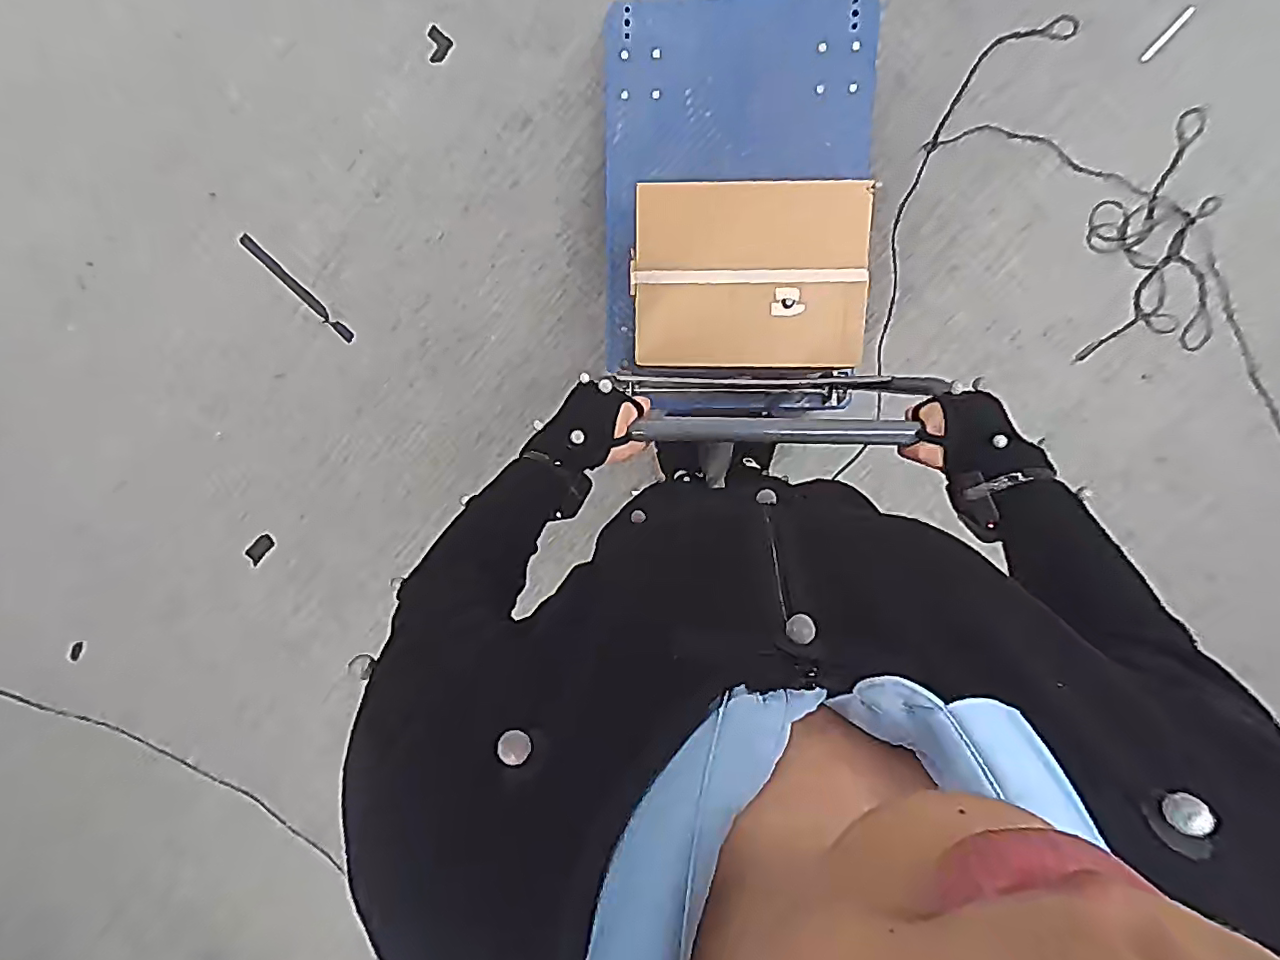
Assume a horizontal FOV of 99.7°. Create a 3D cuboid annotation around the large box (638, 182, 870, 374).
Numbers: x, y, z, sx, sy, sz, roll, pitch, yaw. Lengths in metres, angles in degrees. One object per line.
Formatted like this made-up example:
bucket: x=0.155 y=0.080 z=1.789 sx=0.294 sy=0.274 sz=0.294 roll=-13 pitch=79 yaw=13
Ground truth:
large box: x=0.203 y=-0.381 z=1.103 sx=0.408 sy=0.320 sz=0.320 roll=1 pitch=100 yaw=3
